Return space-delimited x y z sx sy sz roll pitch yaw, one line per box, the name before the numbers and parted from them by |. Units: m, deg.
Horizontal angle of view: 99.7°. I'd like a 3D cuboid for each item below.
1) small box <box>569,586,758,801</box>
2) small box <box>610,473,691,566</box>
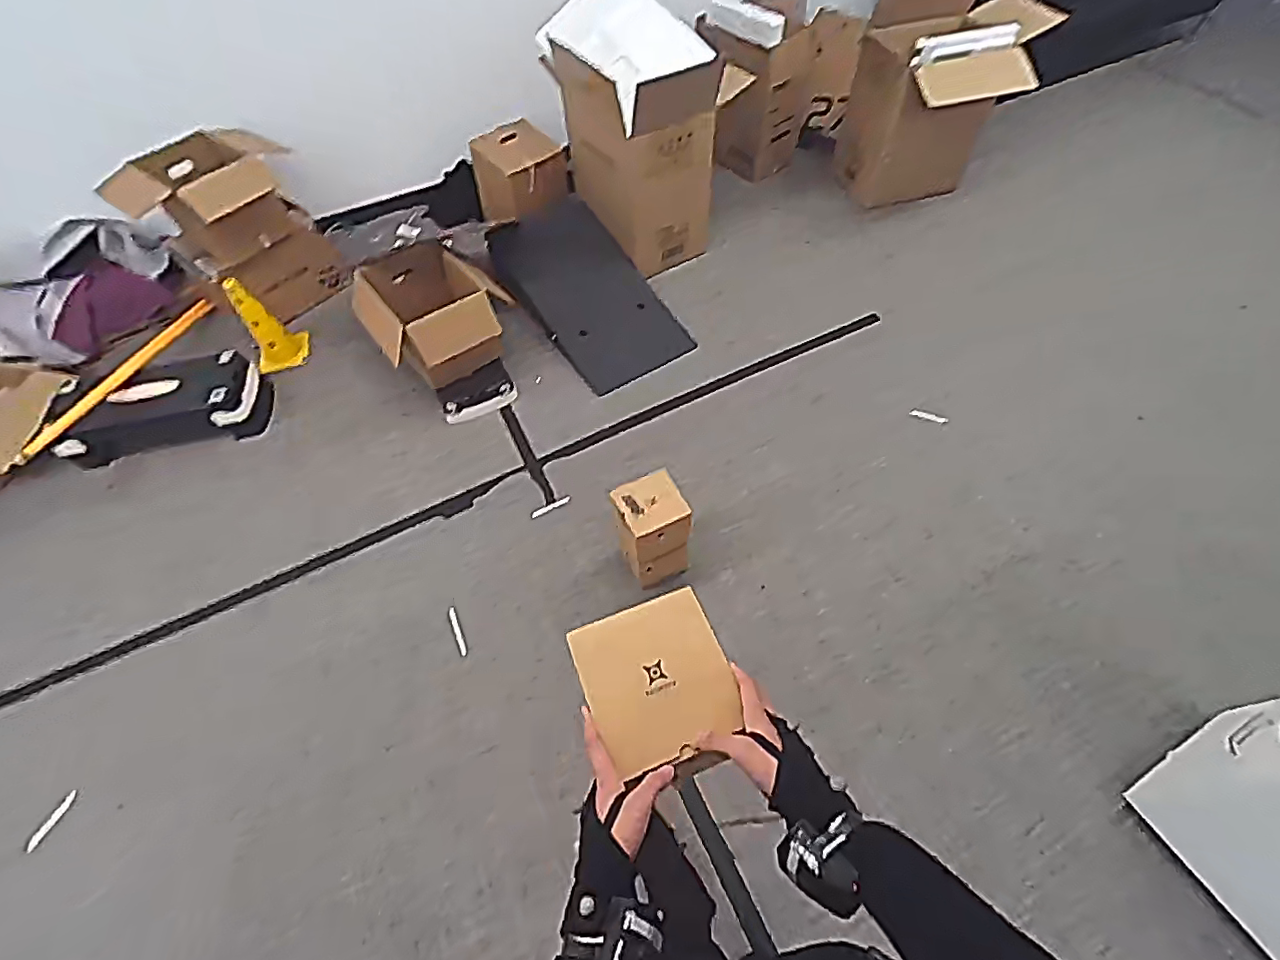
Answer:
small box | 0.021 0.265 0.665 0.168 0.176 0.179 -18 56 -11
small box | 0.031 0.117 1.533 0.179 0.176 0.168 -24 58 -14
